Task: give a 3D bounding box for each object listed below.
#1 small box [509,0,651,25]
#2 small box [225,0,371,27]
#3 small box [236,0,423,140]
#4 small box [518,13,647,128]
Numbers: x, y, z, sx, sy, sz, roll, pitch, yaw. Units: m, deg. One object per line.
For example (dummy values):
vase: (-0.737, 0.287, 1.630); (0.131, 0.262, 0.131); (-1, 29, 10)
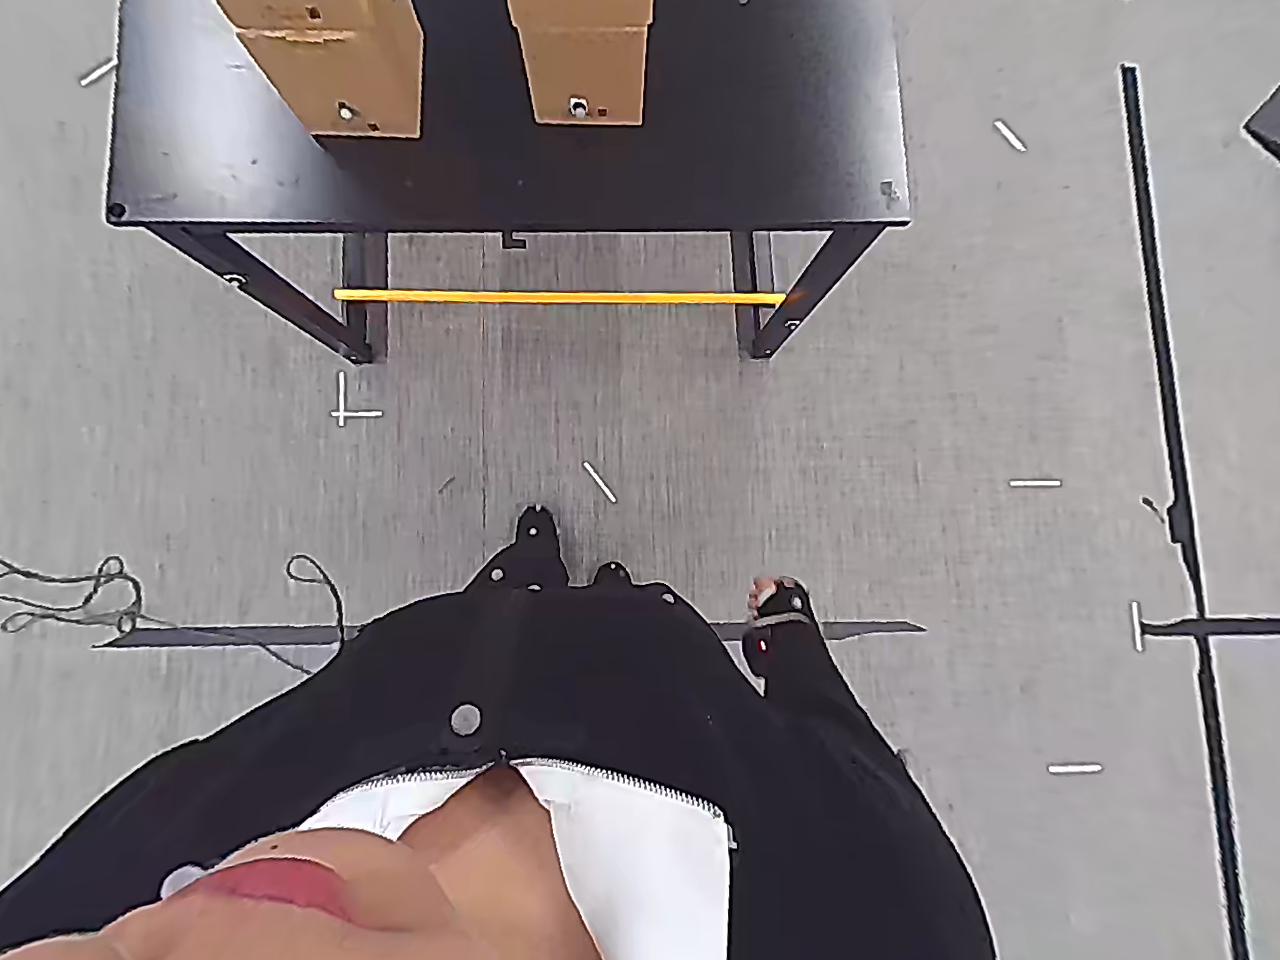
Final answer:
small box: (-0.076, -0.659, 0.608); (0.179, 0.176, 0.168); (-3, 84, -3)
small box: (-0.408, -0.642, 0.588); (0.168, 0.176, 0.179); (-3, 85, -3)
small box: (-0.413, -0.616, 0.751); (0.168, 0.176, 0.179); (0, 84, -2)
small box: (-0.078, -0.645, 0.772); (0.168, 0.176, 0.179); (-2, 85, -2)
